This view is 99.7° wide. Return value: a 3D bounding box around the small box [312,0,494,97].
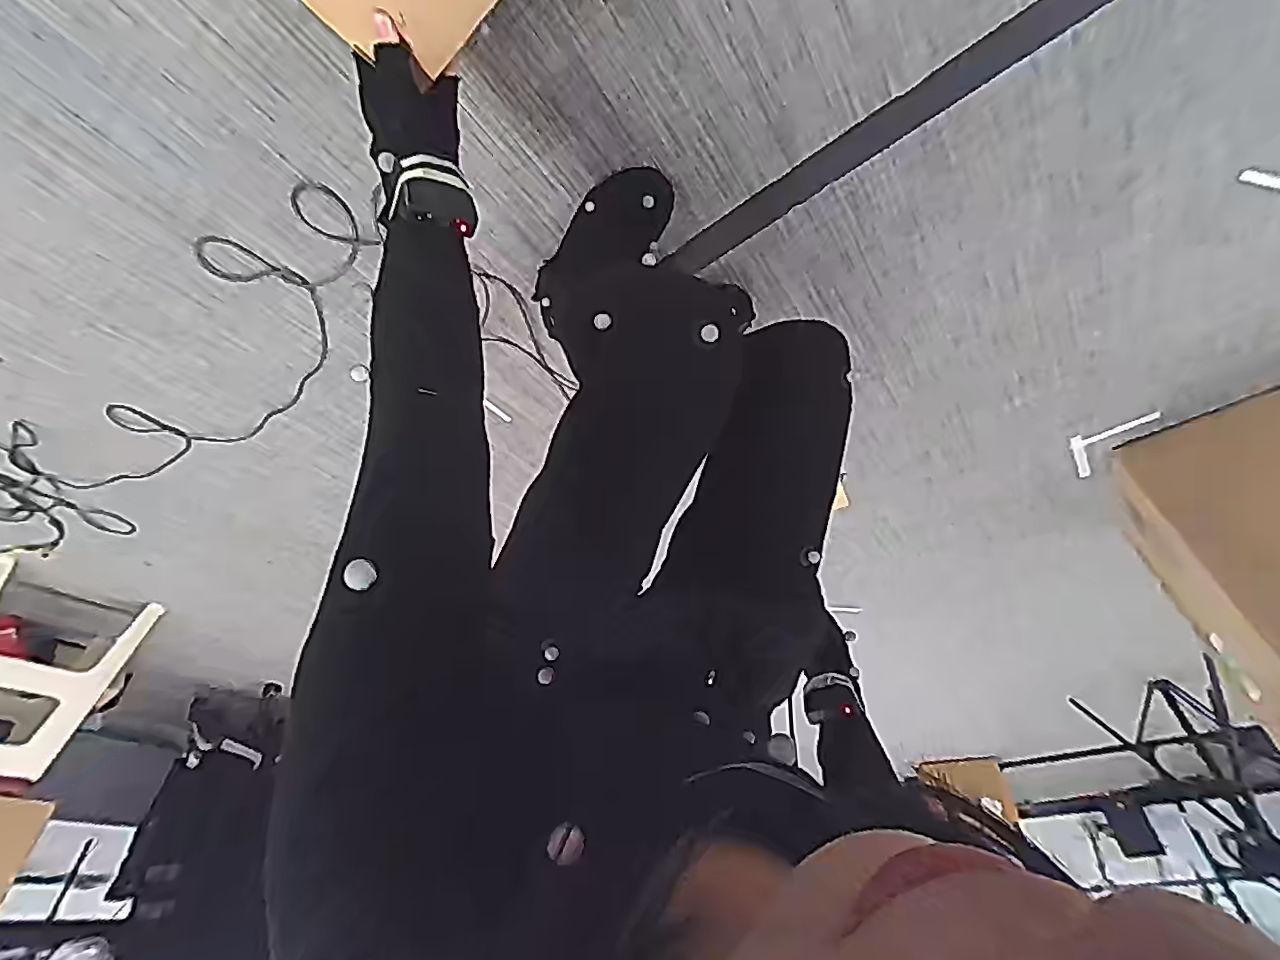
[{"bbox_3d":[-0.192,-0.483,0.445,0.179,0.176,0.168,-21,143,35],"label":"small box"}]
